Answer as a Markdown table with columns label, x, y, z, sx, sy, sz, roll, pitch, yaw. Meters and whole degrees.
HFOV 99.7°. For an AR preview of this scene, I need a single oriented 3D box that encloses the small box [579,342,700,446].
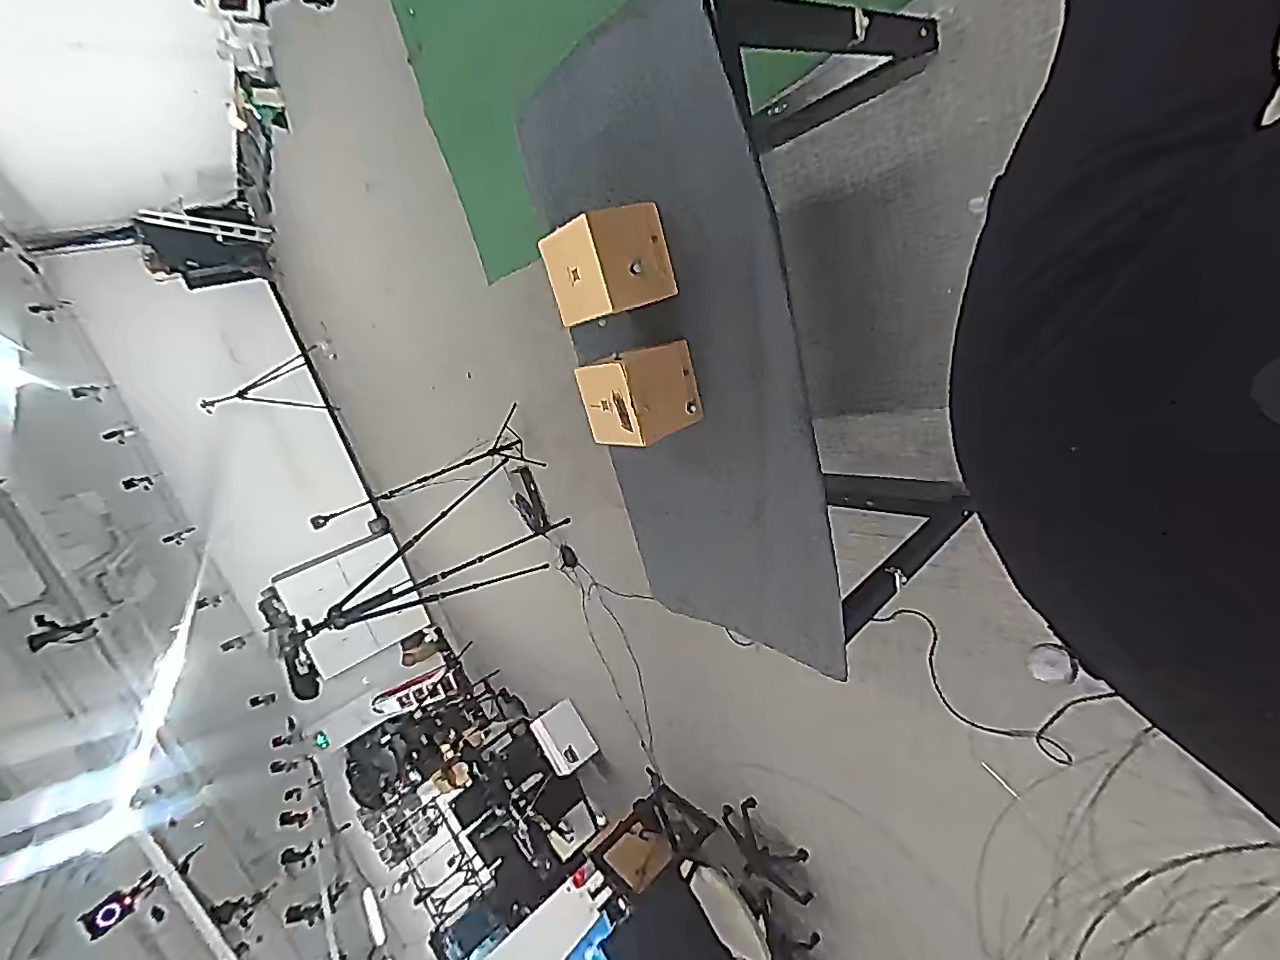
| label | x | y | z | sx | sy | sz | roll | pitch | yaw |
| --- | --- | --- | --- | --- | --- | --- | --- | --- | --- |
| small box | 0.006 | -0.179 | 1.115 | 0.179 | 0.176 | 0.168 | 9 | 120 | 53 |

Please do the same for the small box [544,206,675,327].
| label | x | y | z | sx | sy | sz | roll | pitch | yaw |
| --- | --- | --- | --- | --- | --- | --- | --- | --- | --- |
| small box | -0.051 | -0.407 | 1.035 | 0.179 | 0.176 | 0.168 | 6 | 118 | 54 |
